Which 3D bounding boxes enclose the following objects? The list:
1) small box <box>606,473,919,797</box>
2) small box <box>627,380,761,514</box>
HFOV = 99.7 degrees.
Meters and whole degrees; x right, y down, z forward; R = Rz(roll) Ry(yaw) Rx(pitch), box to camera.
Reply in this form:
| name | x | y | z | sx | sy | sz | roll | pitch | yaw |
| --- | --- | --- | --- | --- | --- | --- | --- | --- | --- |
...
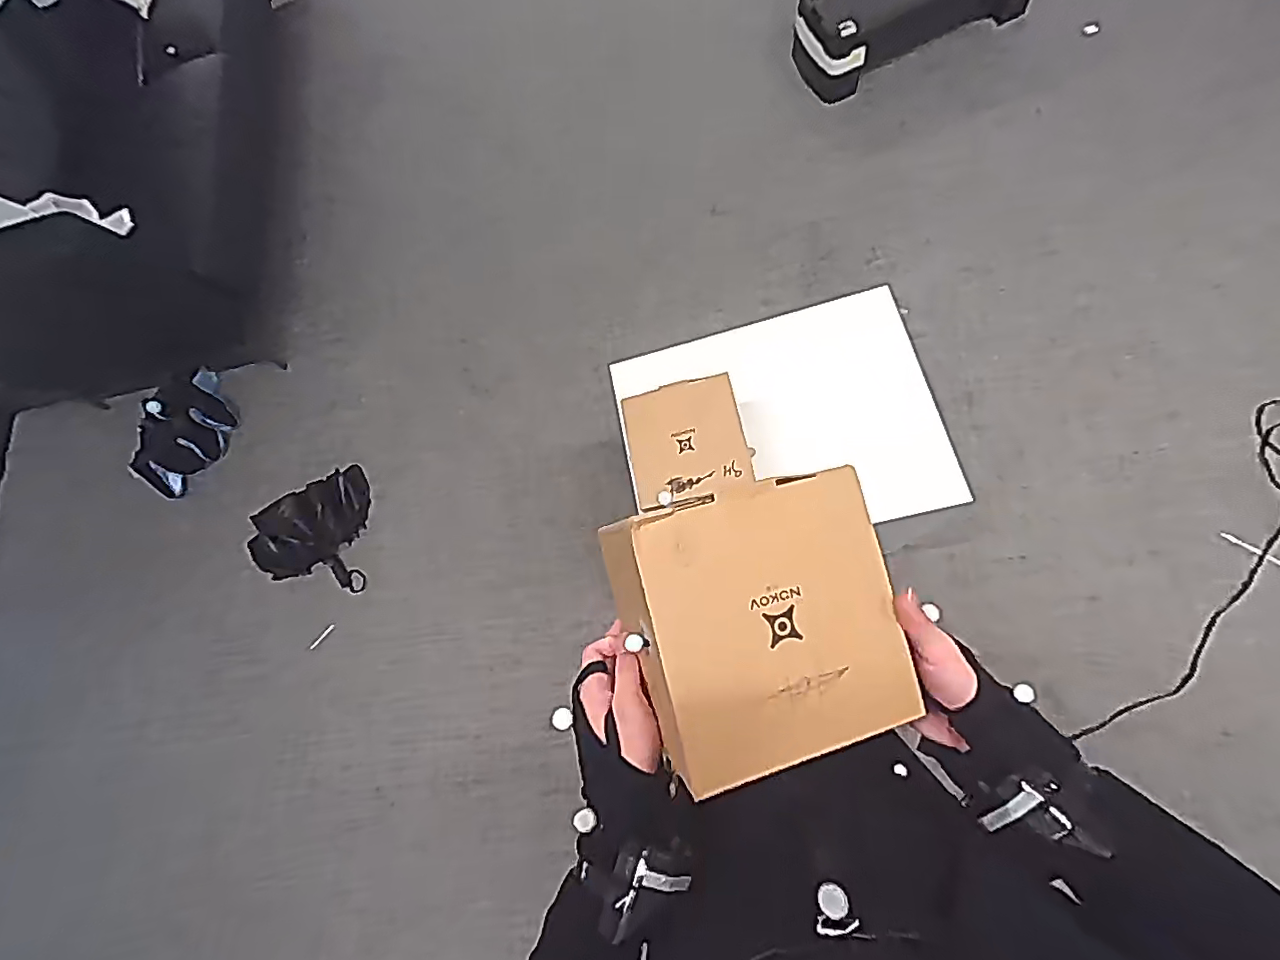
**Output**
| name | x | y | z | sx | sy | sz | roll | pitch | yaw |
| --- | --- | --- | --- | --- | --- | --- | --- | --- | --- |
| small box | 0.075 | 0.105 | 0.428 | 0.168 | 0.176 | 0.179 | -12 | 85 | -11 |
| small box | 0.088 | -0.025 | 0.842 | 0.168 | 0.176 | 0.179 | -13 | 71 | 9 |
